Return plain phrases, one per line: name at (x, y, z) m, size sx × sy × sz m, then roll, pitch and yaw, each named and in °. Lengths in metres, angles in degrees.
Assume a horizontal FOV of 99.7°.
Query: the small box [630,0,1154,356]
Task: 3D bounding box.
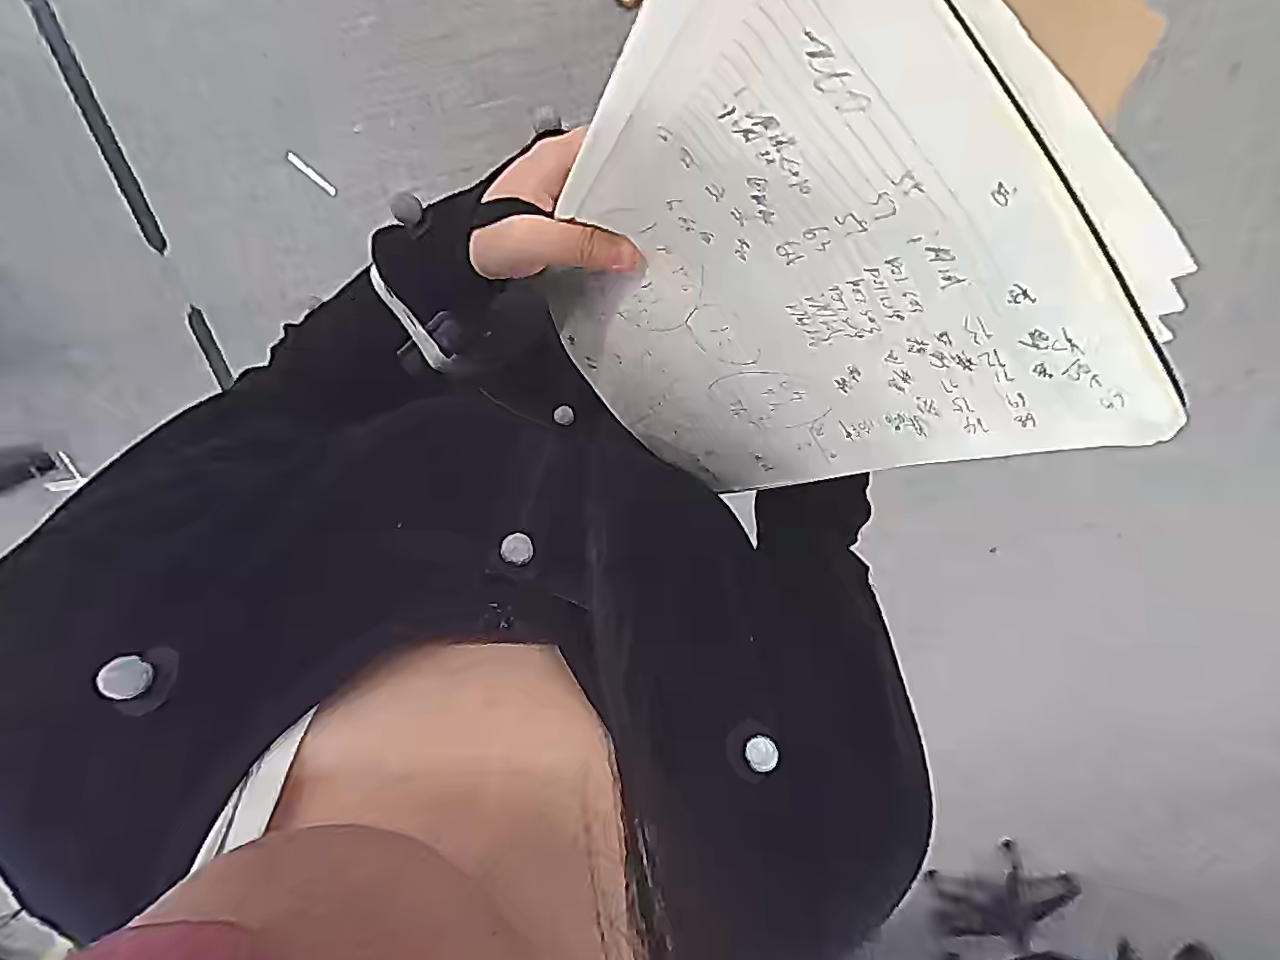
small box at (0.107, -0.196, 0.310) m, size 0.168 × 0.176 × 0.179 m, roll 2°, pitch 129°, yaw -24°
